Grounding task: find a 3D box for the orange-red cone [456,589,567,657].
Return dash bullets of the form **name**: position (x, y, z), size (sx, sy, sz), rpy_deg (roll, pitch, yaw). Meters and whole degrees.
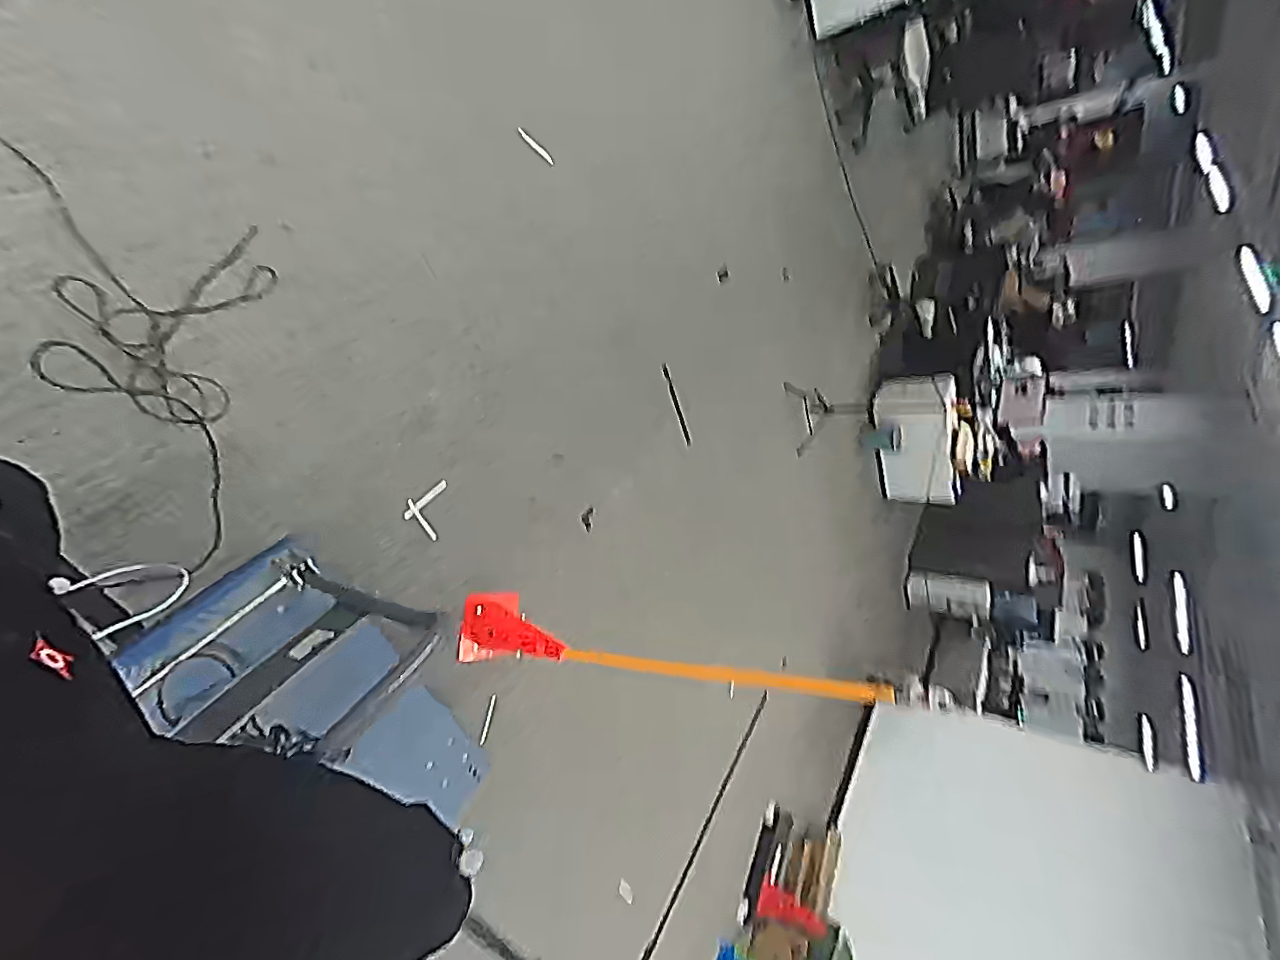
- **orange-red cone**: position (-0.349, 0.457, 1.594), size (0.198, 0.360, 0.199), rpy_deg (13, 84, -50)
